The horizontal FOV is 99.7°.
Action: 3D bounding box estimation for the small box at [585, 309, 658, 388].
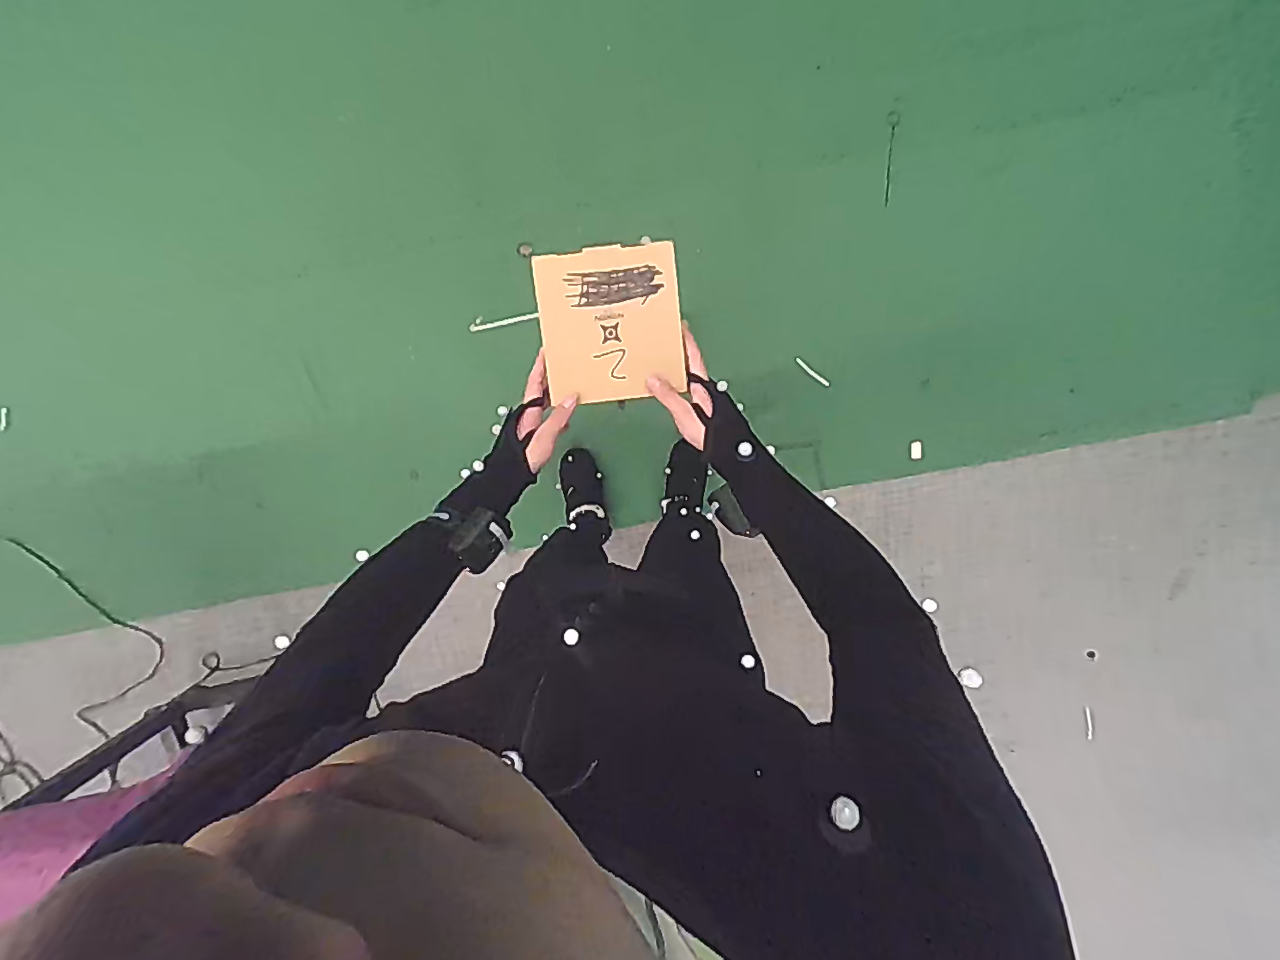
[{"bbox_3d":[-0.045,-0.343,1.438,0.168,0.176,0.179,-9,100,3],"label":"small box"}]
